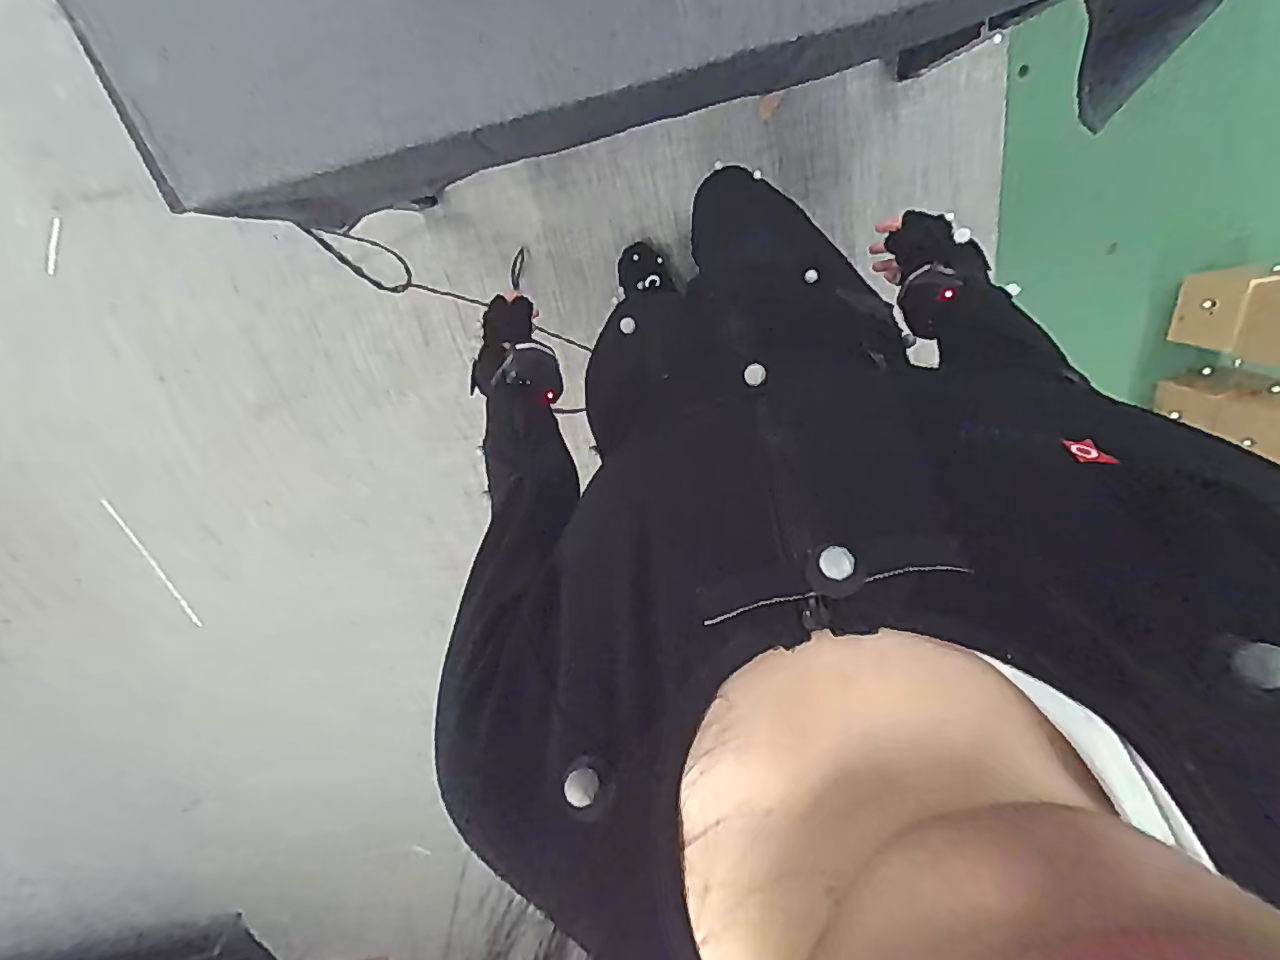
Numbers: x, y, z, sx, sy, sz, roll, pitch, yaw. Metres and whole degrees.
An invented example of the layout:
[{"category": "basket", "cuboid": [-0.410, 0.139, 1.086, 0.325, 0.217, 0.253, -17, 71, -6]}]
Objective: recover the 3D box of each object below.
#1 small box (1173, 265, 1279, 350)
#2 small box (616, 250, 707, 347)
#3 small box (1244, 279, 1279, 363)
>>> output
[{"category": "small box", "cuboid": [1.462, -0.419, 1.305, 0.179, 0.176, 0.168, -8, 114, 2]}, {"category": "small box", "cuboid": [0.049, -0.438, 1.296, 0.179, 0.176, 0.168, 16, 126, 10]}, {"category": "small box", "cuboid": [1.477, -0.345, 1.158, 0.168, 0.176, 0.179, -9, 114, 3]}]
